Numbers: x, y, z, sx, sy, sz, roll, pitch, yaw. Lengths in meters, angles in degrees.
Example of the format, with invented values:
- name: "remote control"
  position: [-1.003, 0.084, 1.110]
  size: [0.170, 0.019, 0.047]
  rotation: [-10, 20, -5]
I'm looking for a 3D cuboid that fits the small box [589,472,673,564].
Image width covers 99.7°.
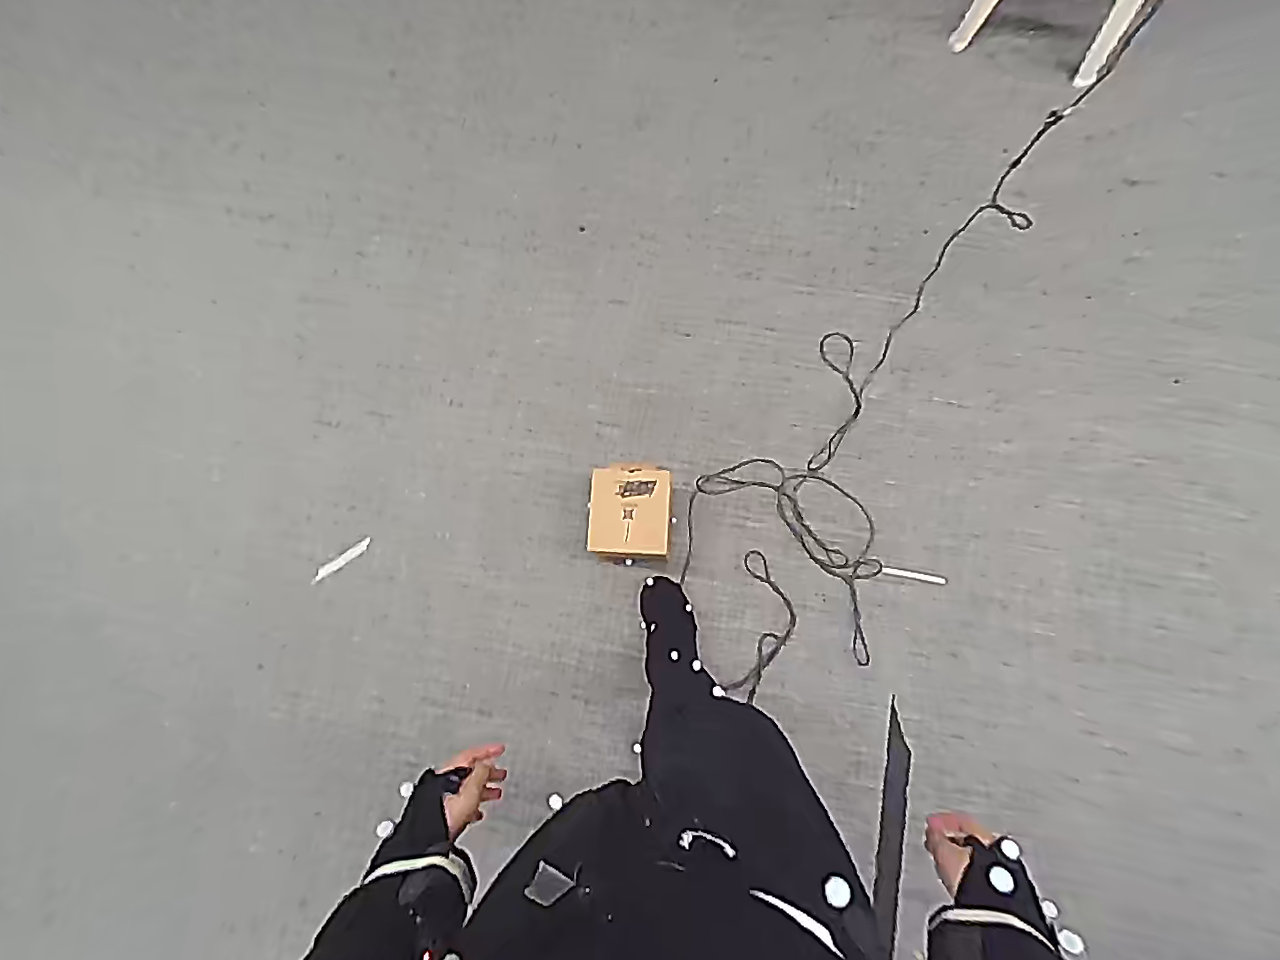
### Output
- name: "small box"
  position: [-0.013, 0.088, 1.191]
  size: [0.168, 0.176, 0.179]
  rotation: [2, 78, 5]
